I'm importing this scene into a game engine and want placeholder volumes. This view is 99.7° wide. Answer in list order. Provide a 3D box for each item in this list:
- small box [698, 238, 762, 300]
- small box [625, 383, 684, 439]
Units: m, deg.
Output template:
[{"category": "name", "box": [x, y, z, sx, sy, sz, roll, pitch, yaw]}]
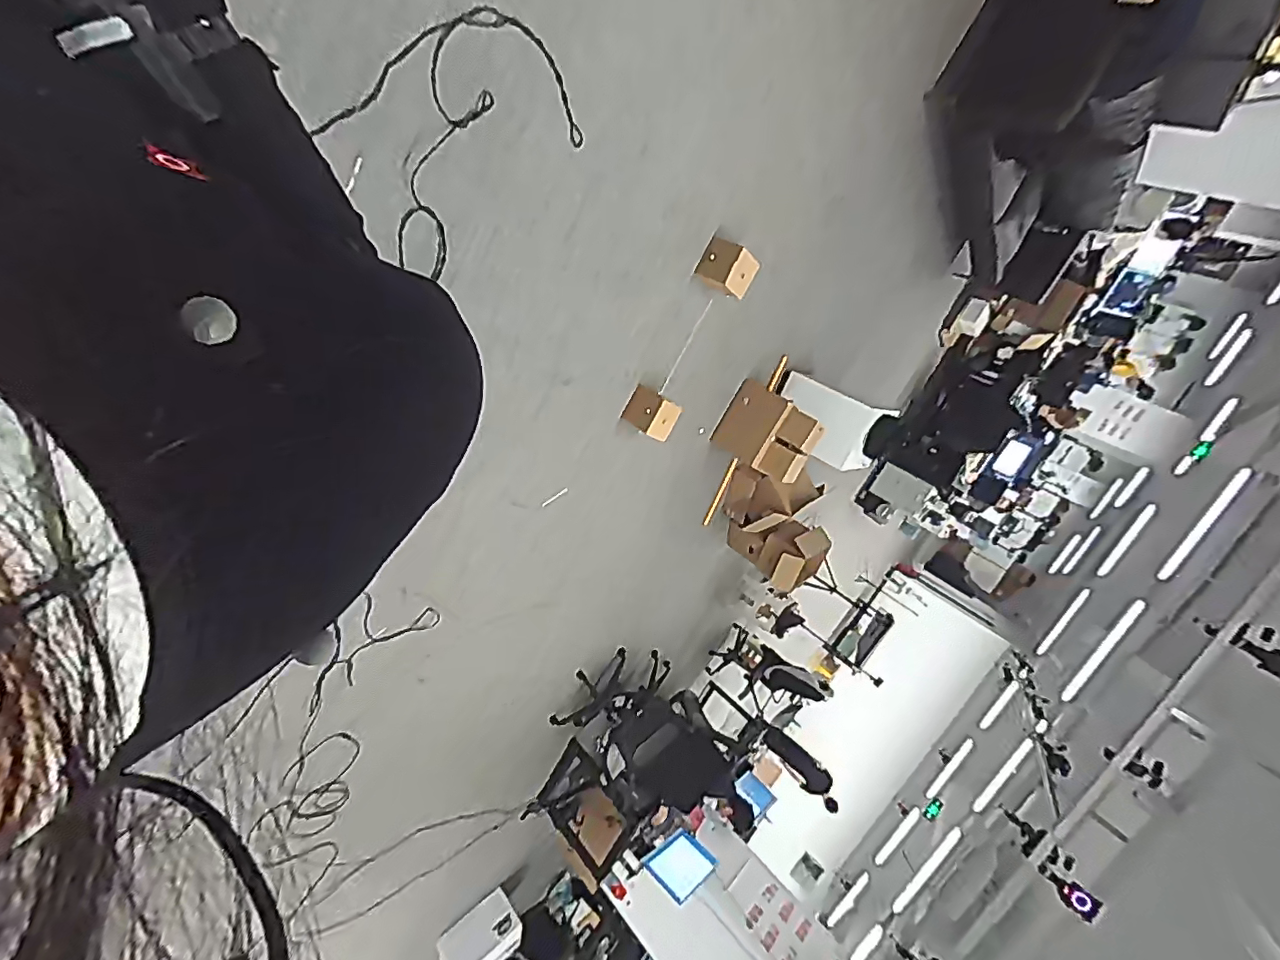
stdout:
[{"category": "small box", "box": [0.378, -0.897, 2.286, 0.179, 0.176, 0.168, 12, 111, -56]}, {"category": "small box", "box": [0.058, -0.309, 2.435, 0.168, 0.176, 0.179, 12, 110, -55]}]
